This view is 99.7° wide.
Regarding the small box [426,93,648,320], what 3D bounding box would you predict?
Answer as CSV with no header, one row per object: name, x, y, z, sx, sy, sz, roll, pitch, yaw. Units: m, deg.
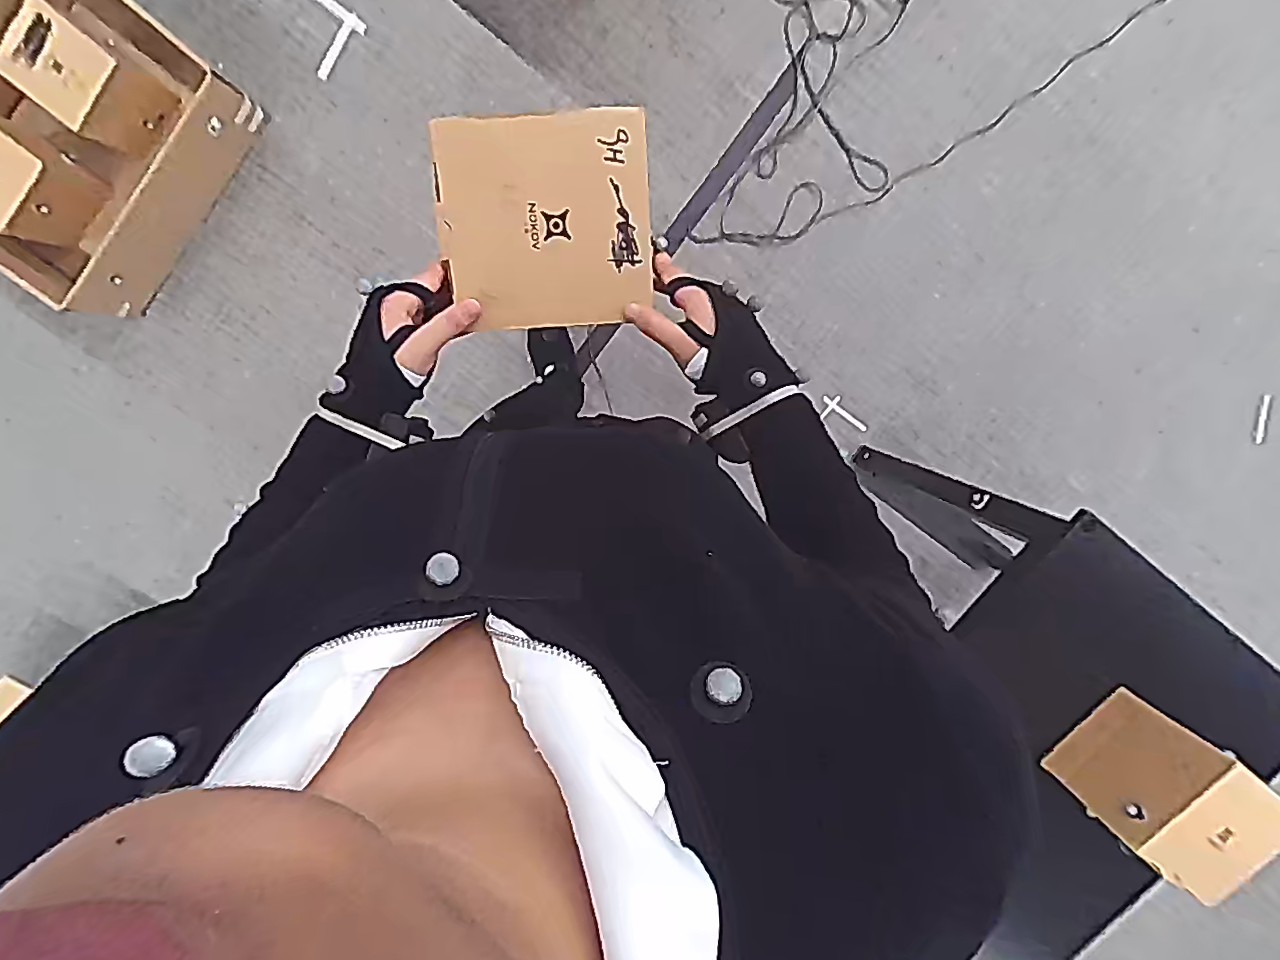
small box,-0.082,-0.247,0.529,0.179,0.176,0.168,-3,106,1

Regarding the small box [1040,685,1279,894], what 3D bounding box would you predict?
small box,0.761,0.446,0.805,0.168,0.176,0.179,37,99,-10

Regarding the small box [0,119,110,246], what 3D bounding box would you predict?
small box,-1.315,-0.633,1.157,0.168,0.176,0.179,40,96,-12
